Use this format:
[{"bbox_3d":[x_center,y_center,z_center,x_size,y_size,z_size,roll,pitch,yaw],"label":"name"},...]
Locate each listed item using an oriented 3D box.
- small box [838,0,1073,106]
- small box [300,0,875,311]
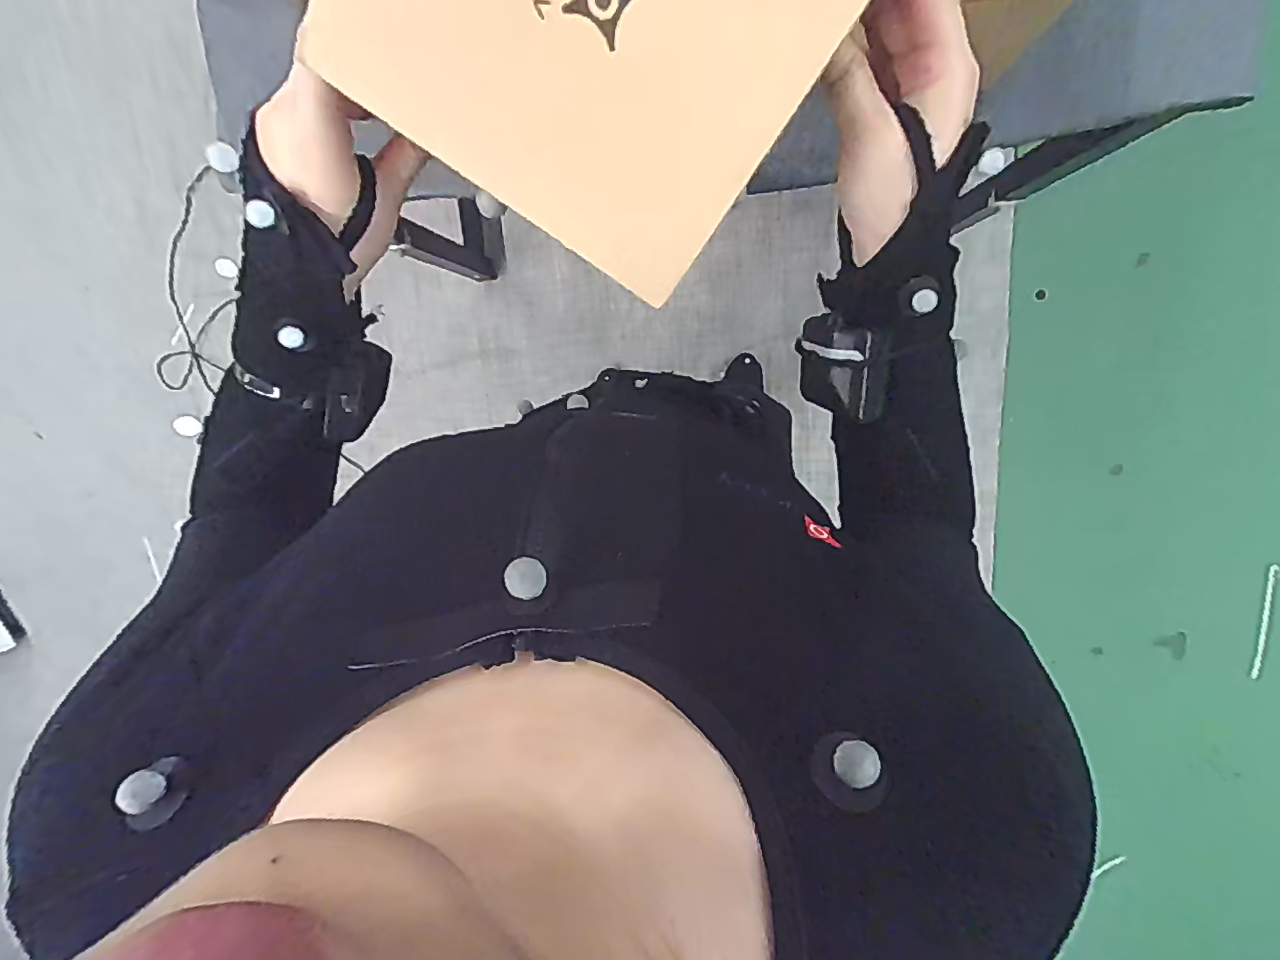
[{"bbox_3d":[0.295,-0.502,0.521,0.168,0.176,0.179,-1,101,8],"label":"small box"},{"bbox_3d":[-0.016,-0.220,0.269,0.179,0.176,0.168,31,119,-15],"label":"small box"}]
